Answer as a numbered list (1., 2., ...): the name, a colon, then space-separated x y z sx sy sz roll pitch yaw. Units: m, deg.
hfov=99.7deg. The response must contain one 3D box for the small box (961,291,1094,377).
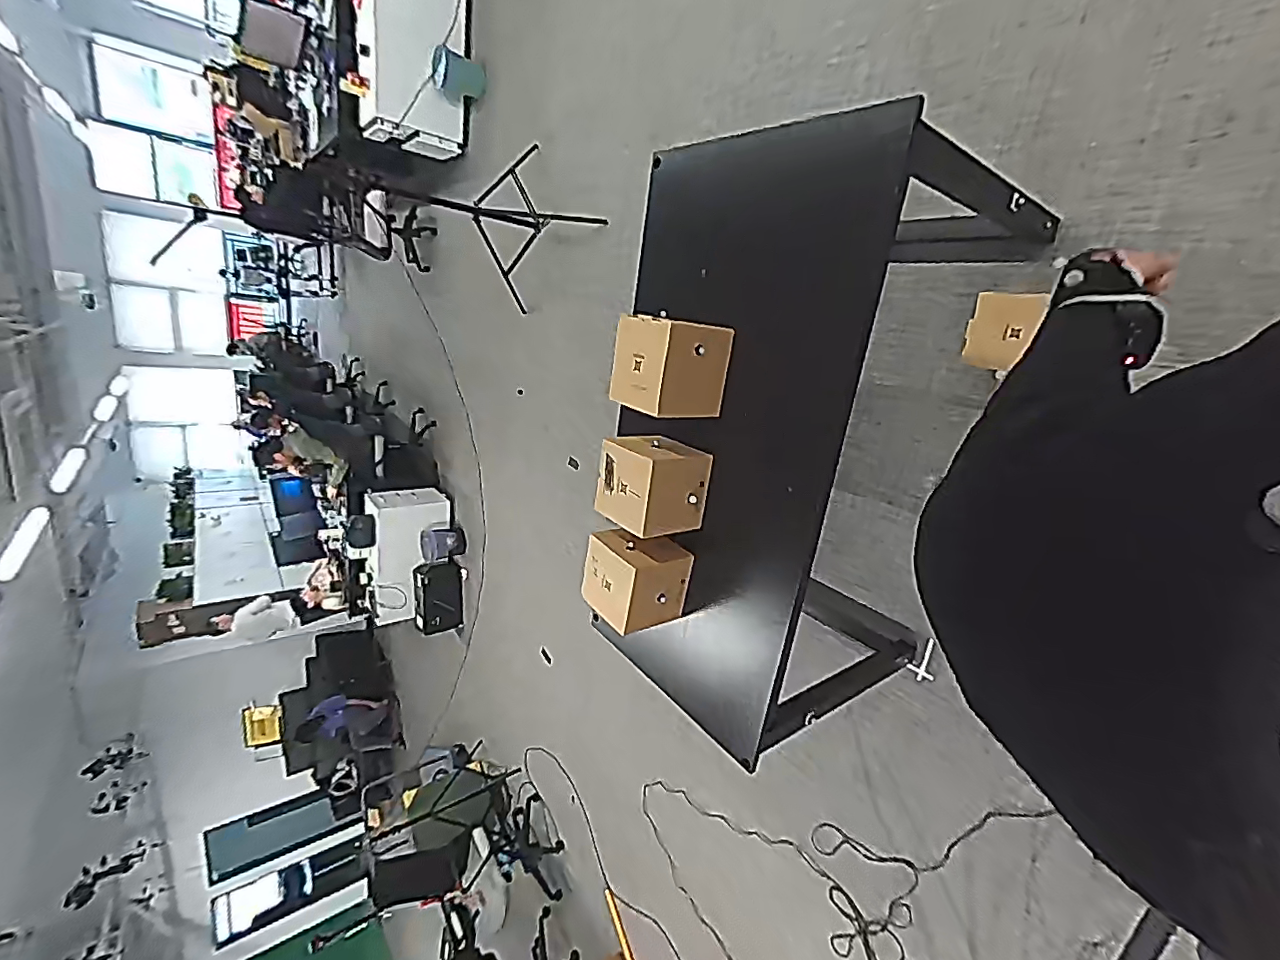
1. small box: 0.872 -0.328 1.219 0.179 0.176 0.168 26 115 48

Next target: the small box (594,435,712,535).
1. small box: 0.026 0.003 1.156 0.179 0.176 0.168 26 115 47

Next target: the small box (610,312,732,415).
1. small box: 0.063 -0.233 1.085 0.168 0.176 0.179 28 117 48

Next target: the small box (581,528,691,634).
1. small box: -0.009 0.214 1.223 0.179 0.176 0.168 32 118 46
